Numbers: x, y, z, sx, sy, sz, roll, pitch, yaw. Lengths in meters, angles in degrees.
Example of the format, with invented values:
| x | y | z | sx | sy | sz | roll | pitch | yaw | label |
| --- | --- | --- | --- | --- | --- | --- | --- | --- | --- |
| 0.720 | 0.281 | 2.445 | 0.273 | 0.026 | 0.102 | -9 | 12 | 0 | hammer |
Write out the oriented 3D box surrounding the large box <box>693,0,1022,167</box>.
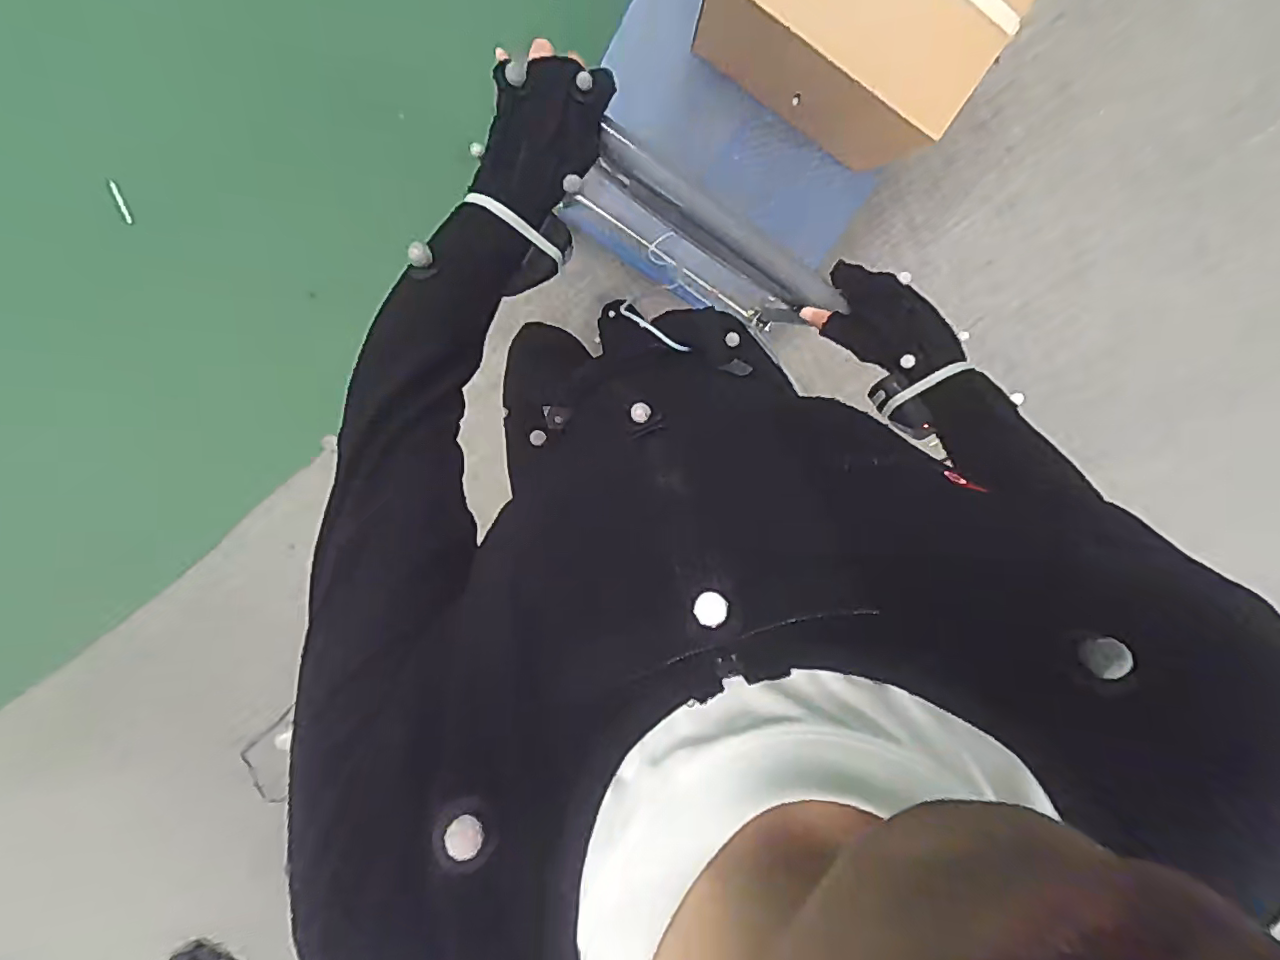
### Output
| x | y | z | sx | sy | sz | roll | pitch | yaw | label |
| --- | --- | --- | --- | --- | --- | --- | --- | --- | --- |
| 0.340 | -0.777 | 0.862 | 0.408 | 0.320 | 0.320 | 29 | 108 | -10 | large box |
